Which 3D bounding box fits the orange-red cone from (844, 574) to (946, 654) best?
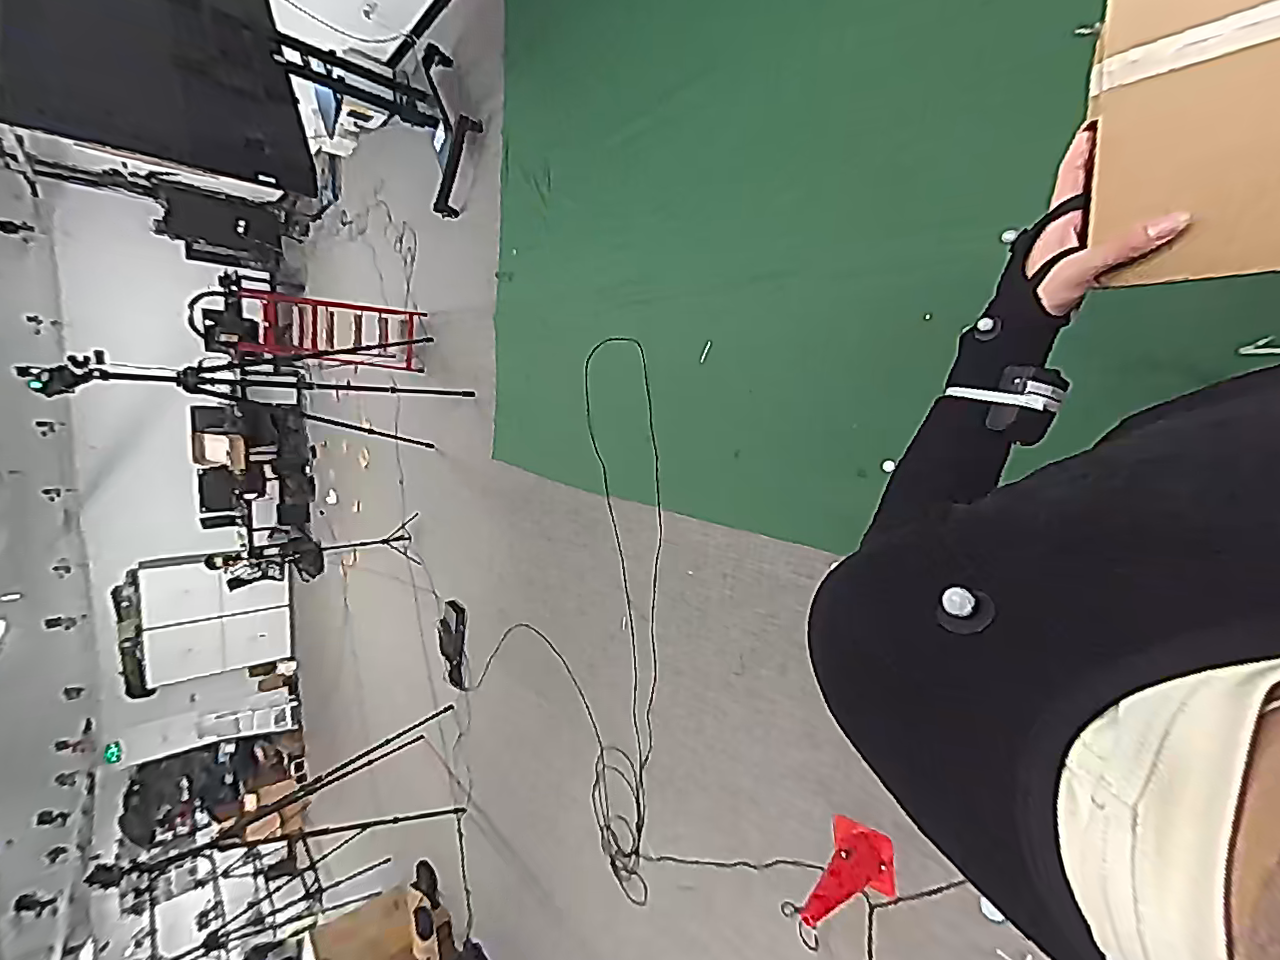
[{"bbox_3d":[0.683,0.414,1.537,0.199,0.360,0.198,24,110,46],"label":"orange-red cone"}]
